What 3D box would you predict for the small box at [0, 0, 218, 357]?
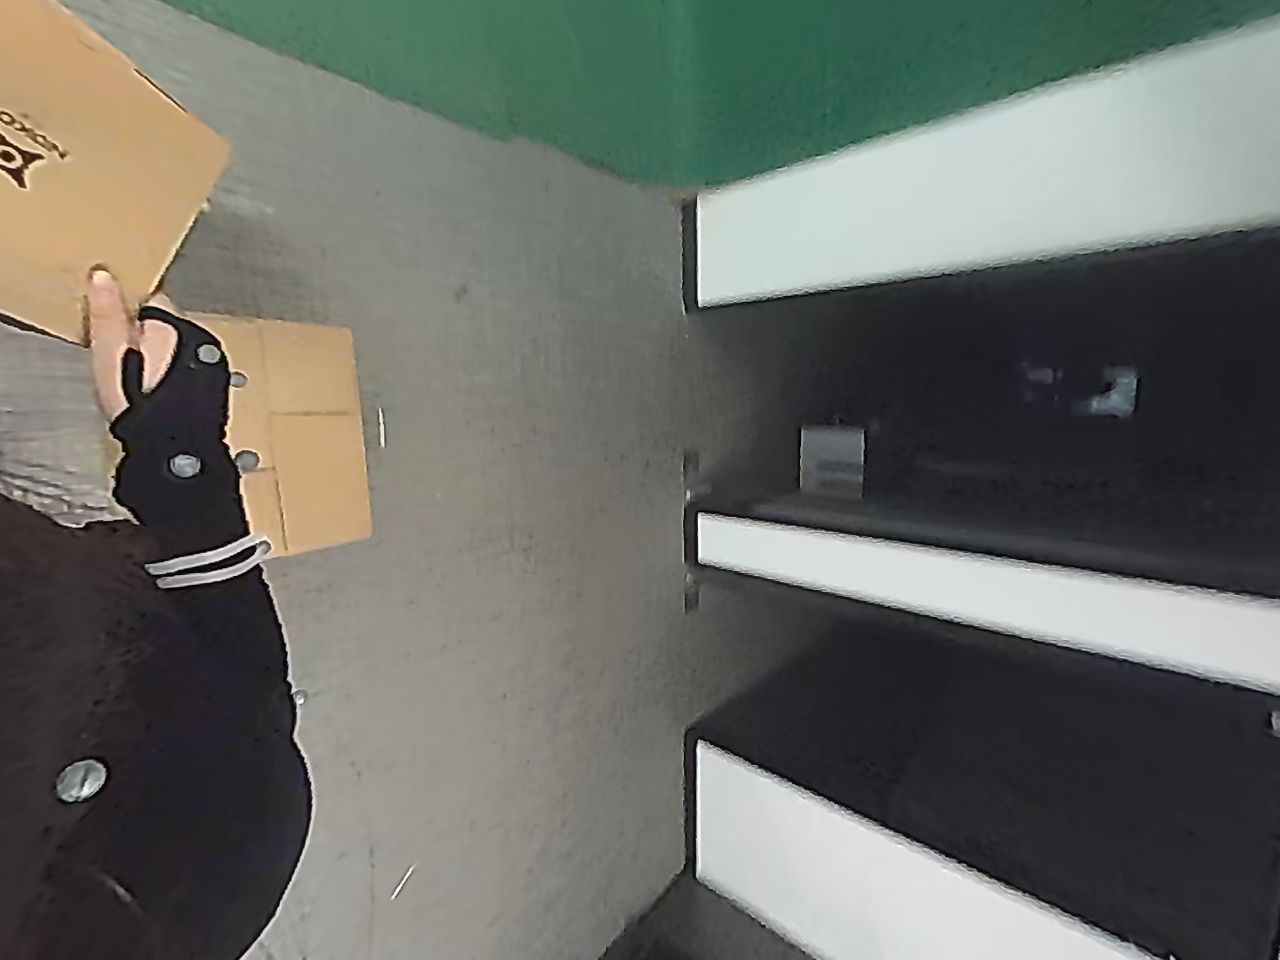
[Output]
[{"bbox_3d":[-0.428,-0.202,0.338,0.168,0.176,0.179,38,69,-62],"label":"small box"}]
